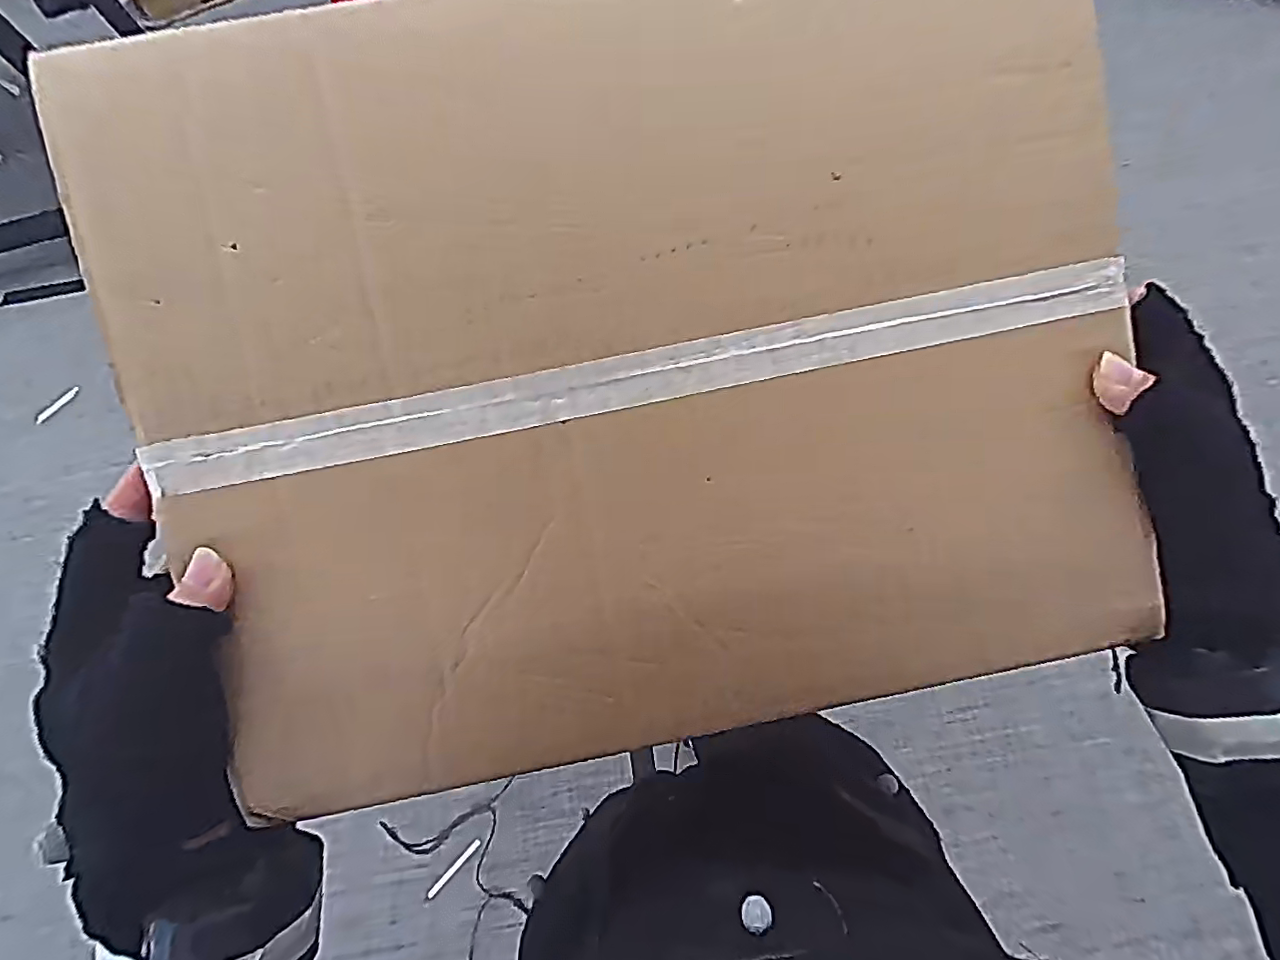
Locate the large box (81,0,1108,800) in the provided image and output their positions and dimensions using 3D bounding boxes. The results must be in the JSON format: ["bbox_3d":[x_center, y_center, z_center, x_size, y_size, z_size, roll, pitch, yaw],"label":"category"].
[{"bbox_3d":[-0.006,-0.057,0.382,0.408,0.320,0.320,-11,95,-2],"label":"large box"}]
